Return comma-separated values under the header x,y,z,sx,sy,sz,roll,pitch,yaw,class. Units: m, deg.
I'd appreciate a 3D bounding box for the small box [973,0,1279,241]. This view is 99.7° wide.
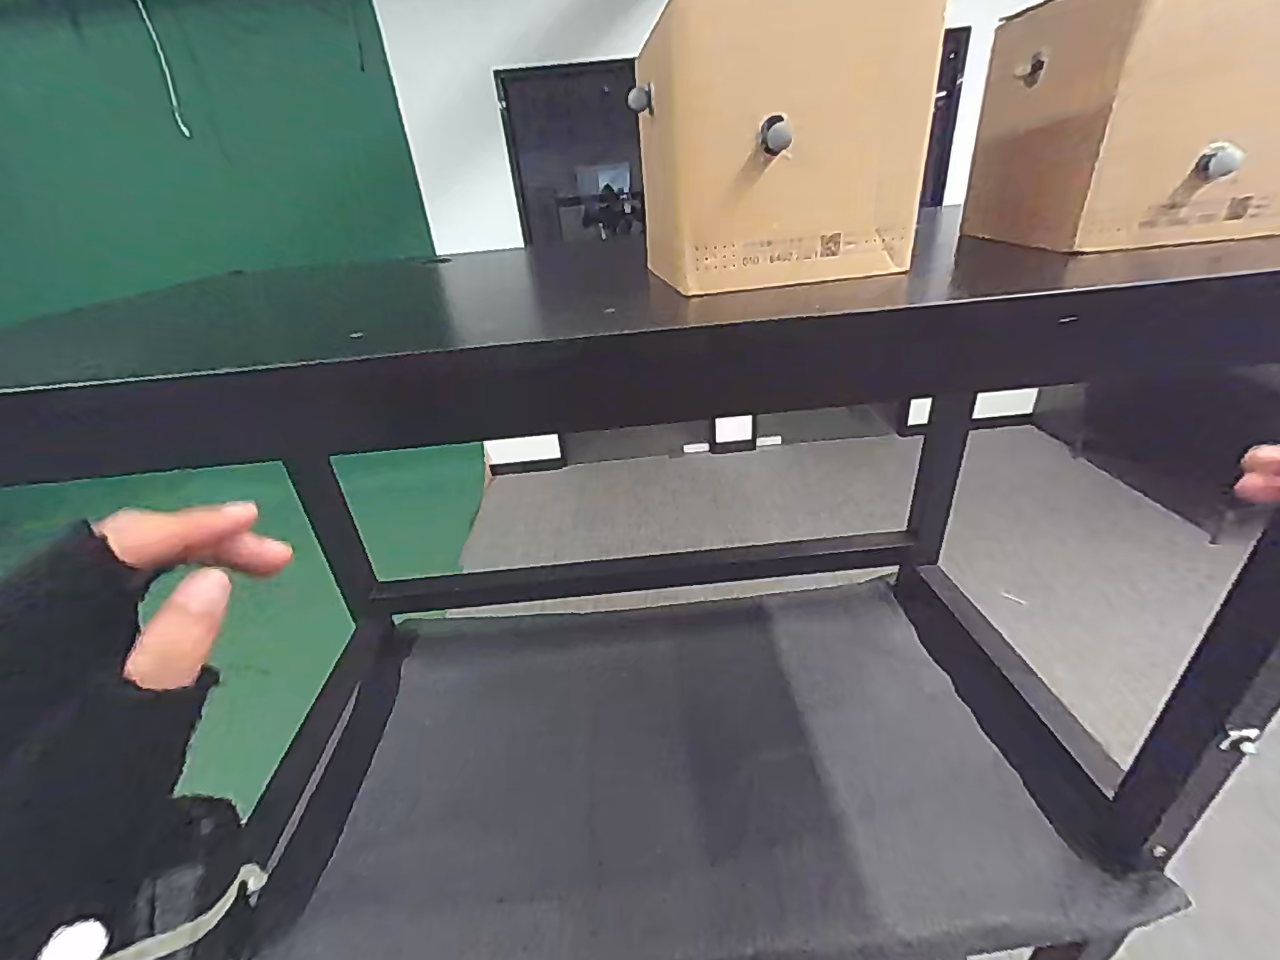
x,y,z,sx,sy,sz,roll,pitch,yaw,class
0.389,-0.284,0.414,0.168,0.176,0.179,-3,30,5,small box

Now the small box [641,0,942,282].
x,y,z,sx,sy,sz,roll,pitch,yaw,class
0.097,-0.251,0.410,0.168,0.176,0.179,-8,28,-4,small box
